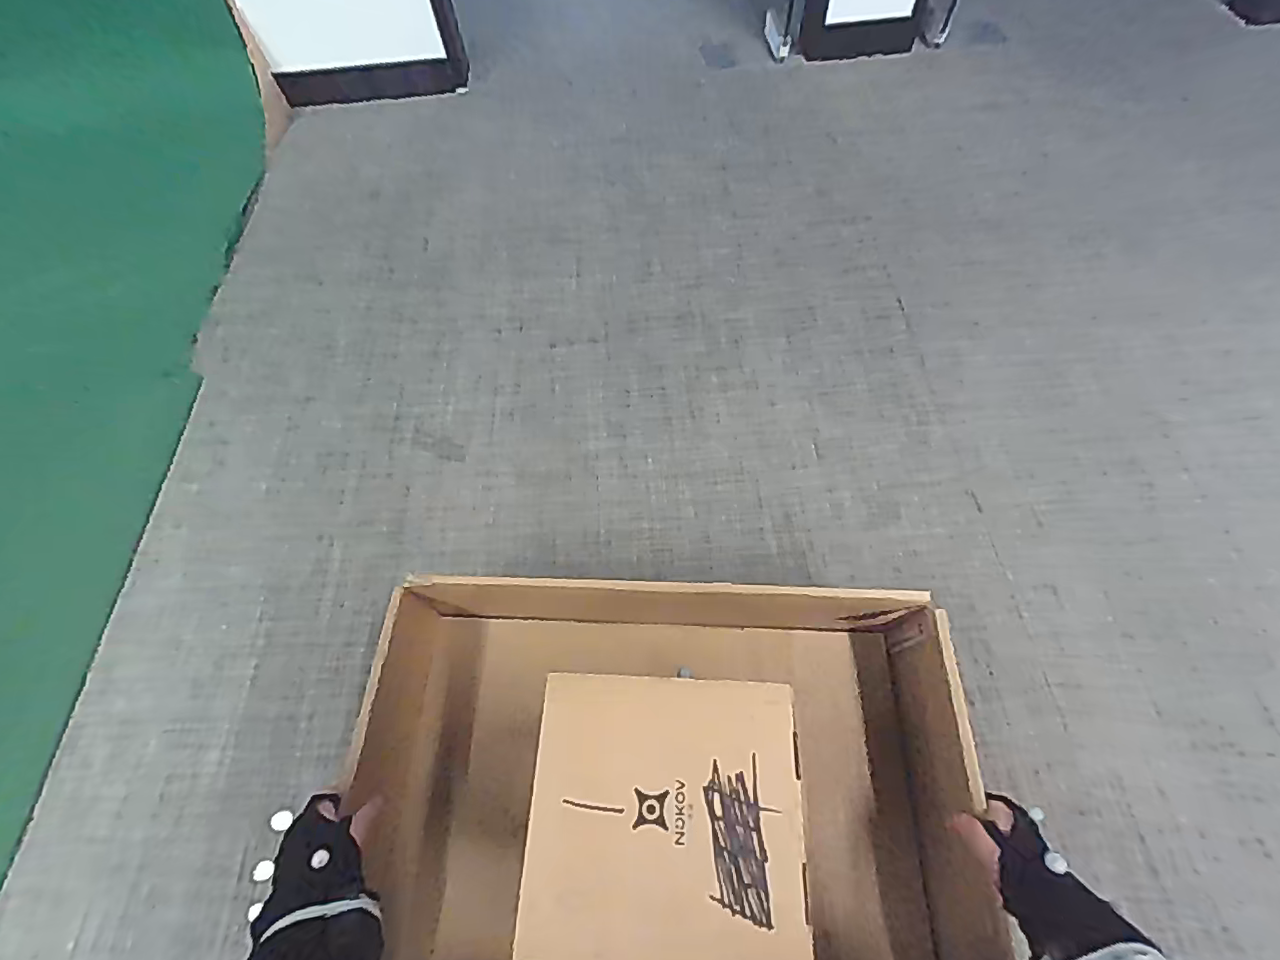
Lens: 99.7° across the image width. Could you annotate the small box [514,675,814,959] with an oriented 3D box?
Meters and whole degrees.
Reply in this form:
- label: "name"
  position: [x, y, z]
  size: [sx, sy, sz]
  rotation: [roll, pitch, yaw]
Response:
- label: "small box"
  position: [0.022, 0.251, 0.415]
  size: [0.179, 0.176, 0.168]
  rotation: [1, 62, 5]
